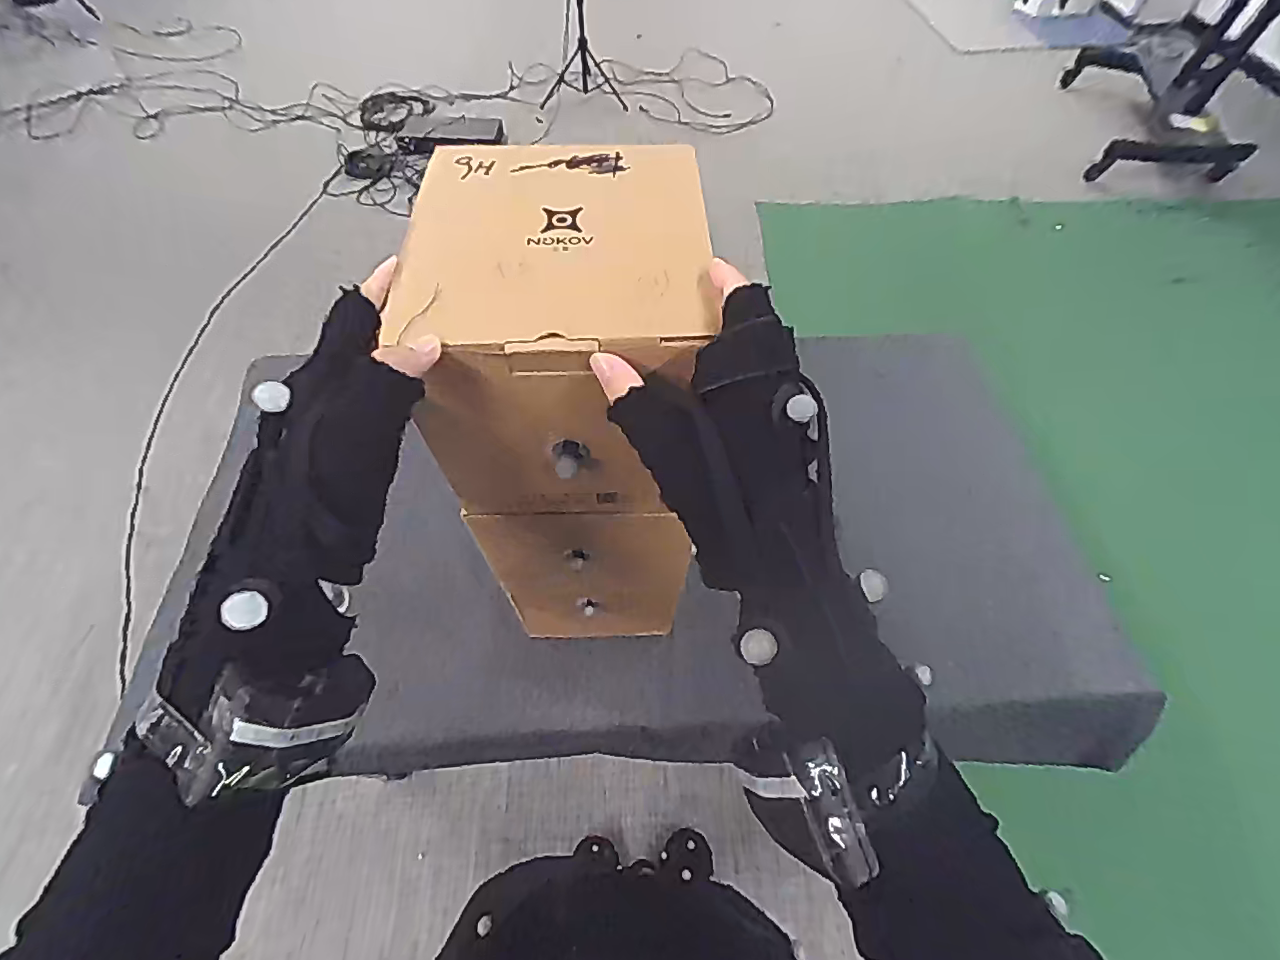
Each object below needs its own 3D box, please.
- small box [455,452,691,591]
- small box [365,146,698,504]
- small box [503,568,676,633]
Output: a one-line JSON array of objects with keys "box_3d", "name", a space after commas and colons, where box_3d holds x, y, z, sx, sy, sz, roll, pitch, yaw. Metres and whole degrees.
[{"box_3d": [-0.050, -0.002, 0.504, 0.179, 0.176, 0.168, -2, 59, 0], "name": "small box"}, {"box_3d": [-0.054, -0.091, 0.368, 0.168, 0.176, 0.179, -2, 60, -1], "name": "small box"}, {"box_3d": [-0.053, 0.080, 0.646, 0.179, 0.176, 0.168, -1, 59, -2], "name": "small box"}]
